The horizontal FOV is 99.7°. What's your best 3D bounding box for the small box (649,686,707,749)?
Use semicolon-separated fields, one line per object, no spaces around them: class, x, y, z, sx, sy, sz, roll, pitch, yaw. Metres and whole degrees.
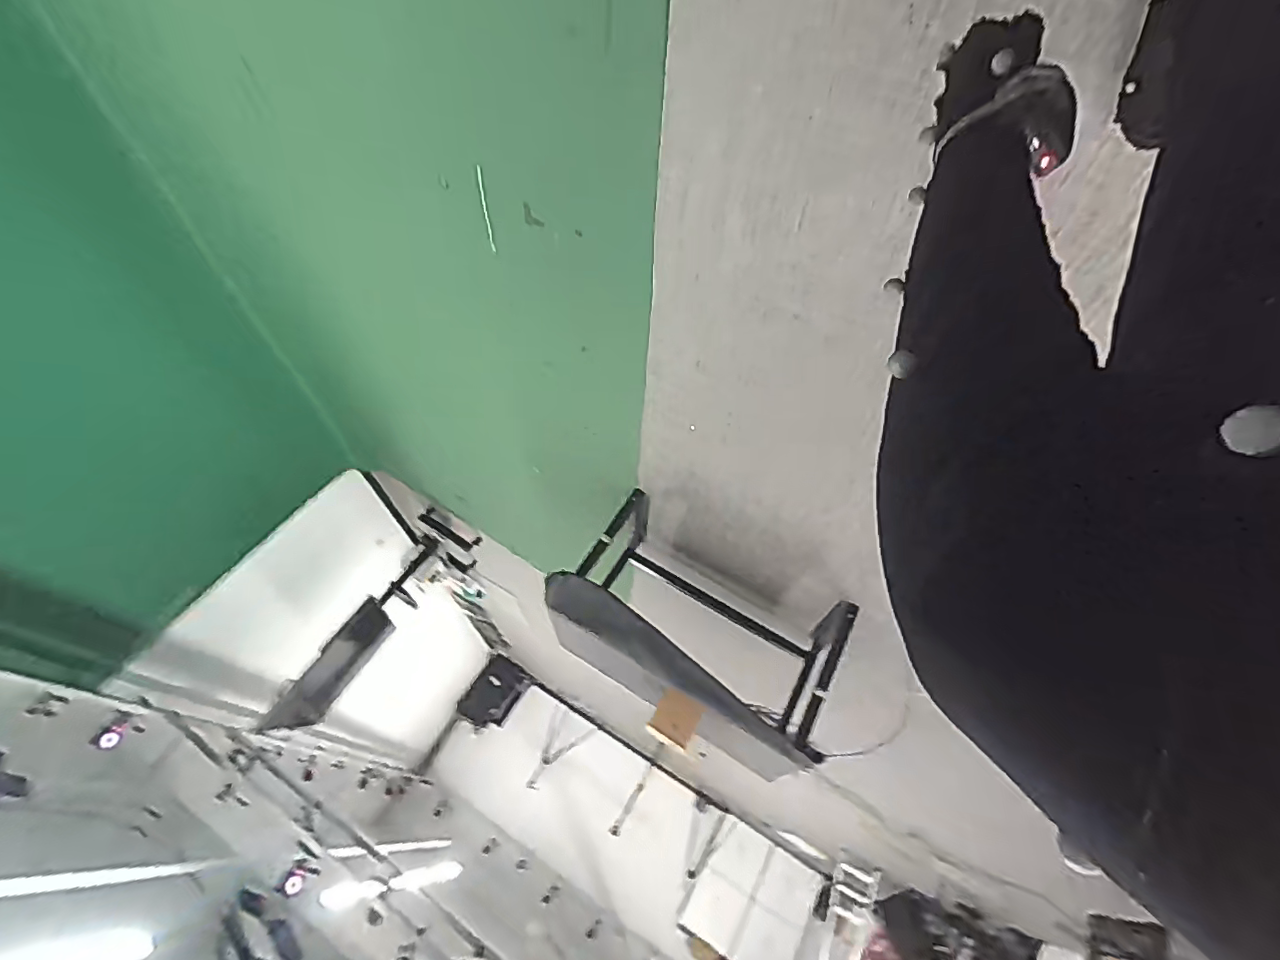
small box;0.160;0.995;2.263;0.179;0.176;0.168;30;151;14
